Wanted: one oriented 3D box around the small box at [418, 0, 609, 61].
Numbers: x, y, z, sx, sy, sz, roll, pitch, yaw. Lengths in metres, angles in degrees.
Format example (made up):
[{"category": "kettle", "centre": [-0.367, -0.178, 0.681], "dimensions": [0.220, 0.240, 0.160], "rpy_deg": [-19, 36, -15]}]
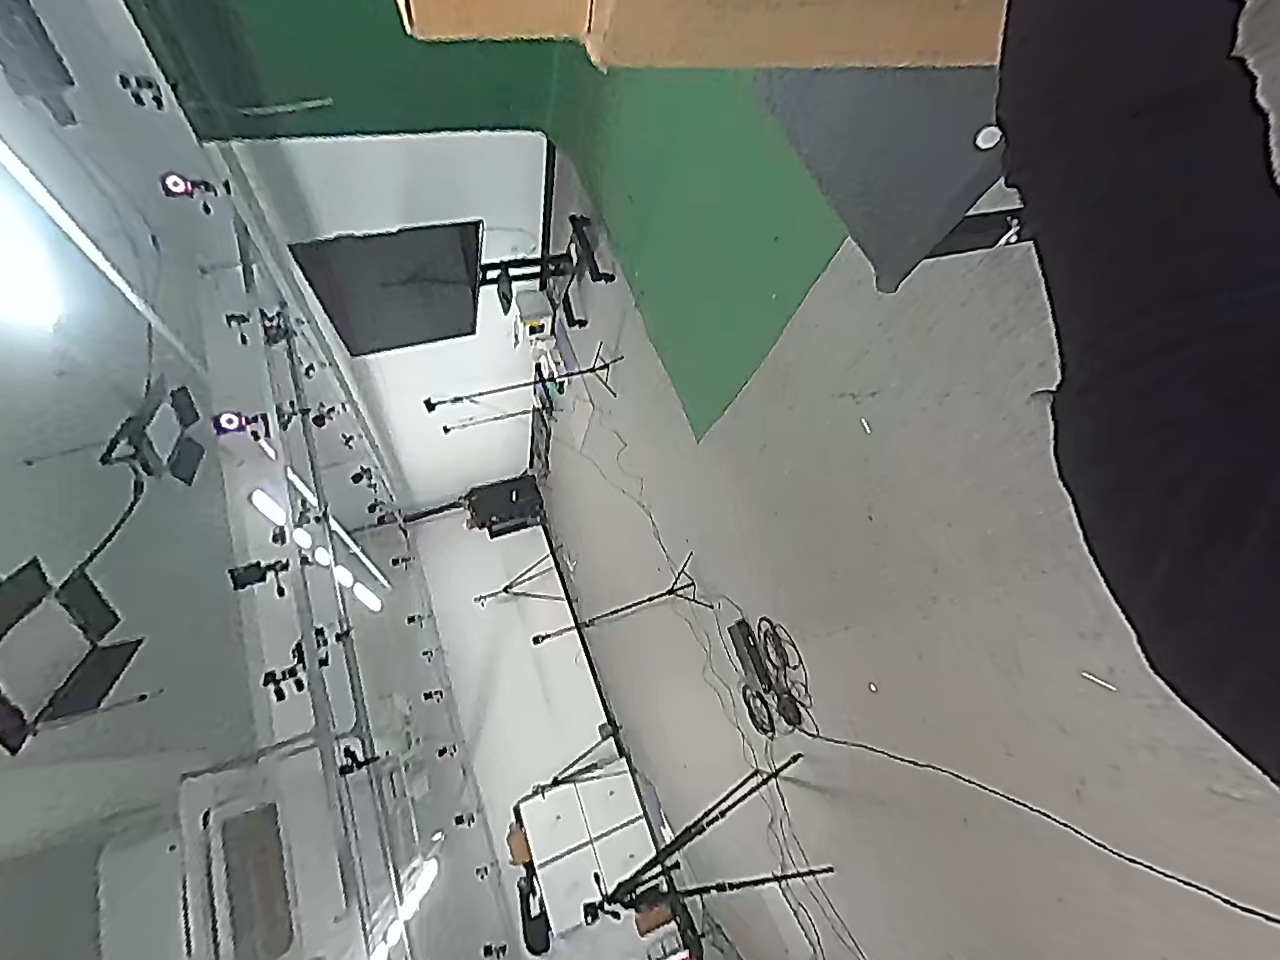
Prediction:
[{"category": "small box", "centre": [-0.123, -0.512, 0.475], "dimensions": [0.179, 0.176, 0.168], "rpy_deg": [109, 141, -62]}]
